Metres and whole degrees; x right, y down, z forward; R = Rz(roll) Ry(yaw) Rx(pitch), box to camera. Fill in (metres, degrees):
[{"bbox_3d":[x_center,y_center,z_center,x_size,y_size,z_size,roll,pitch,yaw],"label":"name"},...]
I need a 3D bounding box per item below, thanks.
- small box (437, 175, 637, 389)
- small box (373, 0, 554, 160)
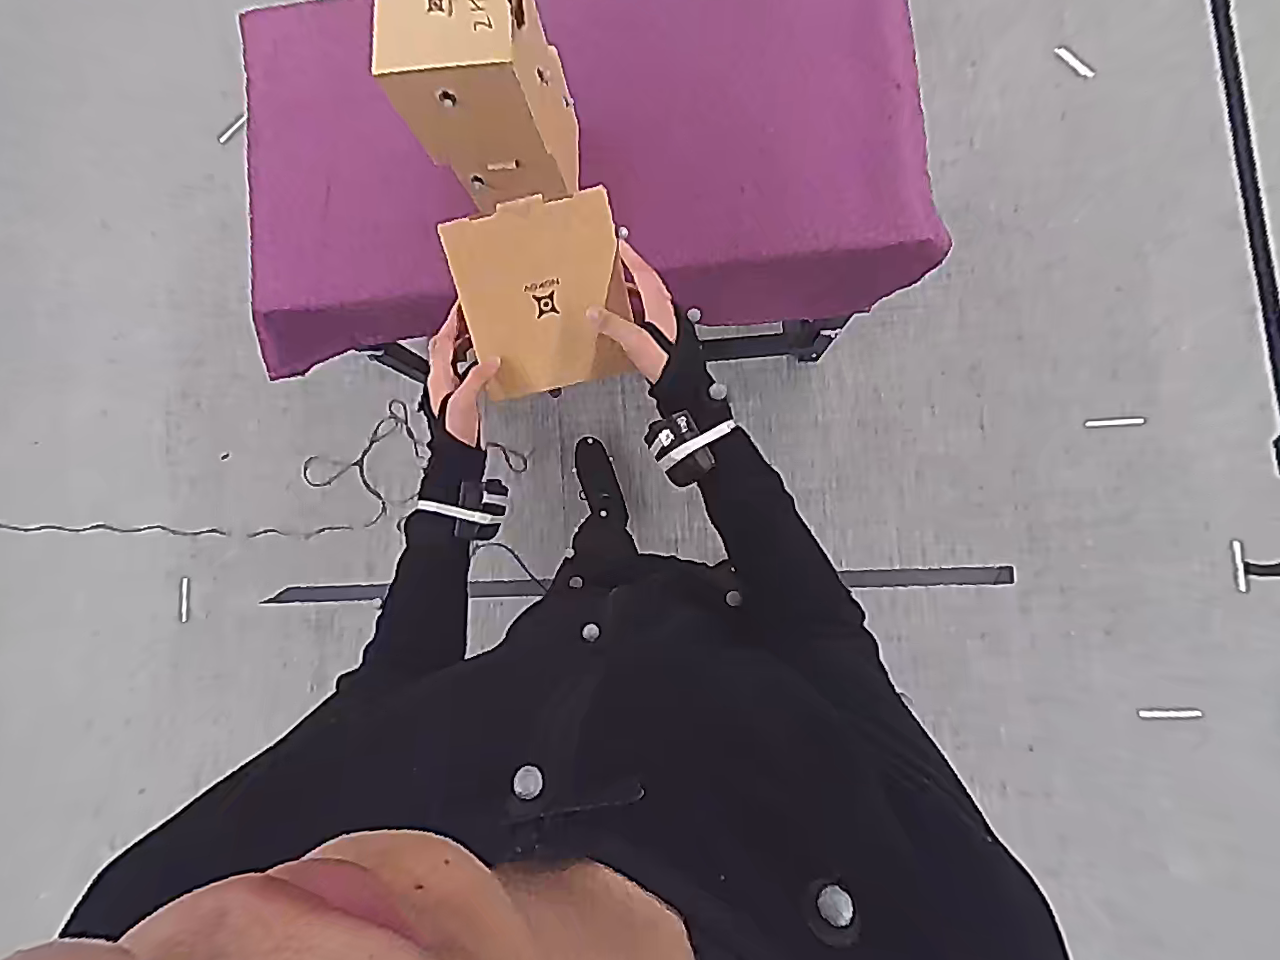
[{"bbox_3d":[-0.099,-0.210,0.609,0.168,0.176,0.179,-12,103,1],"label":"small box"},{"bbox_3d":[-0.224,-0.558,0.722,0.179,0.176,0.168,0,86,5],"label":"small box"}]
